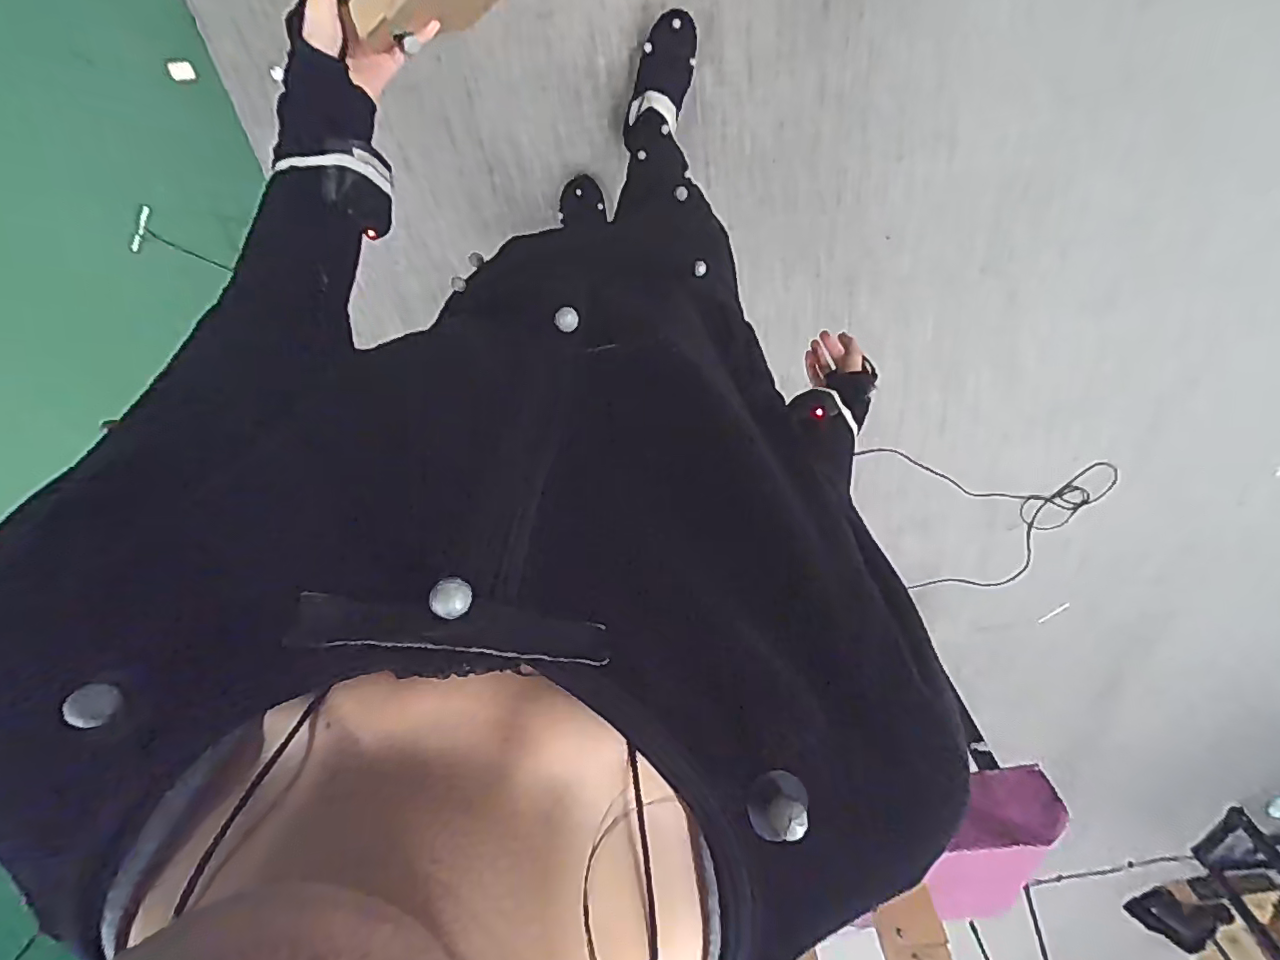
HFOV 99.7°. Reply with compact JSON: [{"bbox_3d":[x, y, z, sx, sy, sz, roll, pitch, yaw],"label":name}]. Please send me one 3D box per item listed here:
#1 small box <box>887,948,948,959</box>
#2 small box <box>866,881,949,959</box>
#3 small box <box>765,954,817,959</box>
[{"bbox_3d":[0.833,1.495,1.575,0.168,0.176,0.179,-8,125,5],"label":"small box"},{"bbox_3d":[0.837,1.396,1.707,0.179,0.176,0.168,-8,125,5],"label":"small box"},{"bbox_3d":[0.452,1.533,1.595,0.179,0.176,0.168,-8,124,3],"label":"small box"}]
